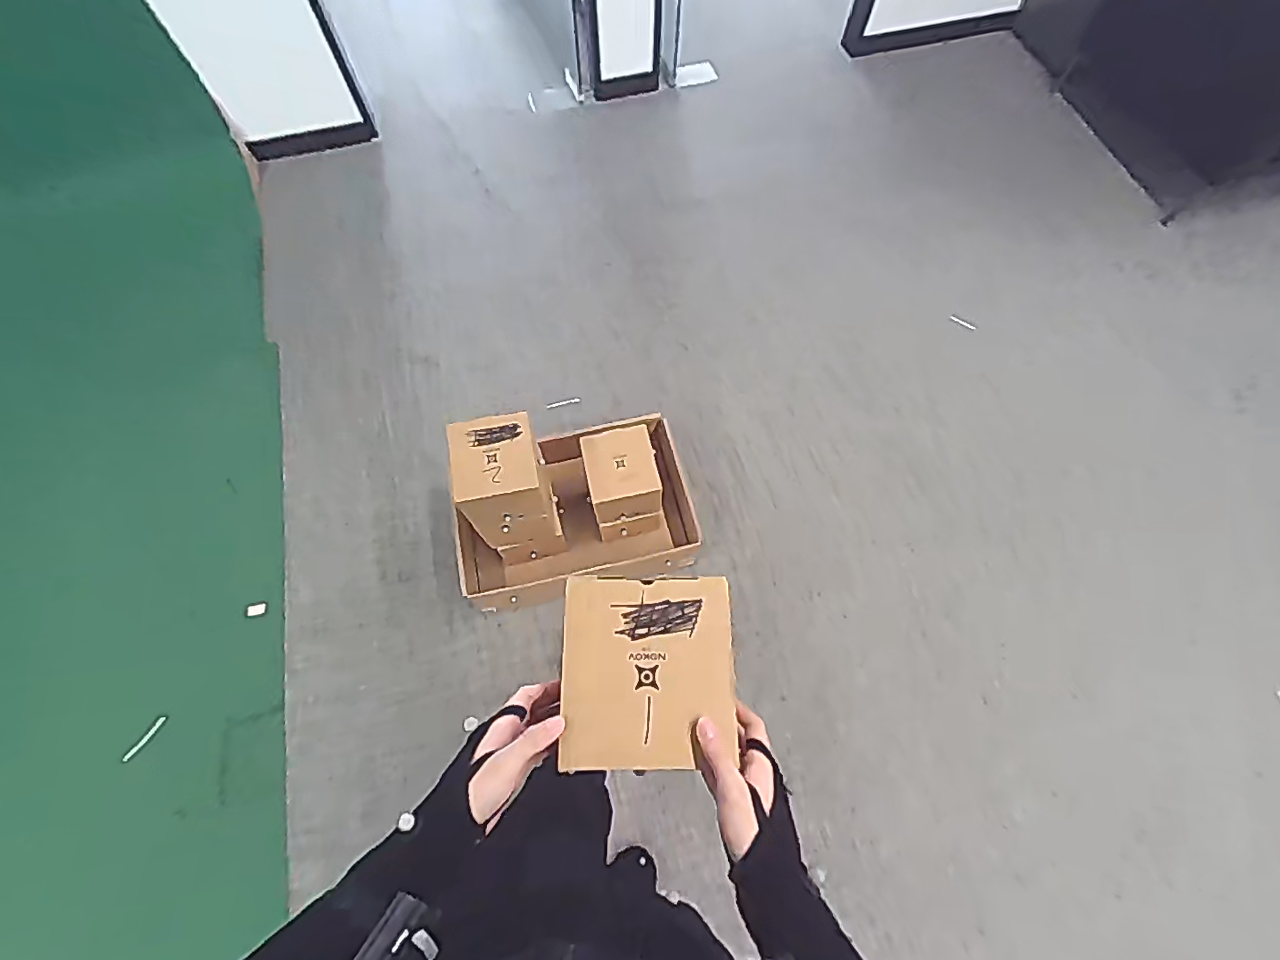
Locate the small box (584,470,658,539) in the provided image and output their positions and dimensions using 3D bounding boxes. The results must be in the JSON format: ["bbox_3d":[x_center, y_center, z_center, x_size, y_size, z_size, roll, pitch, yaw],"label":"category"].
[{"bbox_3d":[-0.051,0.054,1.491,0.168,0.176,0.179,-13,69,-7],"label":"small box"}]

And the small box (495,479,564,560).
[{"bbox_3d":[-0.305,0.108,1.459,0.168,0.176,0.179,-13,69,-9],"label":"small box"}]

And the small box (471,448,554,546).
[{"bbox_3d":[-0.305,0.044,1.308,0.168,0.176,0.179,-9,67,-5],"label":"small box"}]

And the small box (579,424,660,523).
[{"bbox_3d":[-0.051,-0.012,1.341,0.168,0.176,0.179,-12,69,-4],"label":"small box"}]
